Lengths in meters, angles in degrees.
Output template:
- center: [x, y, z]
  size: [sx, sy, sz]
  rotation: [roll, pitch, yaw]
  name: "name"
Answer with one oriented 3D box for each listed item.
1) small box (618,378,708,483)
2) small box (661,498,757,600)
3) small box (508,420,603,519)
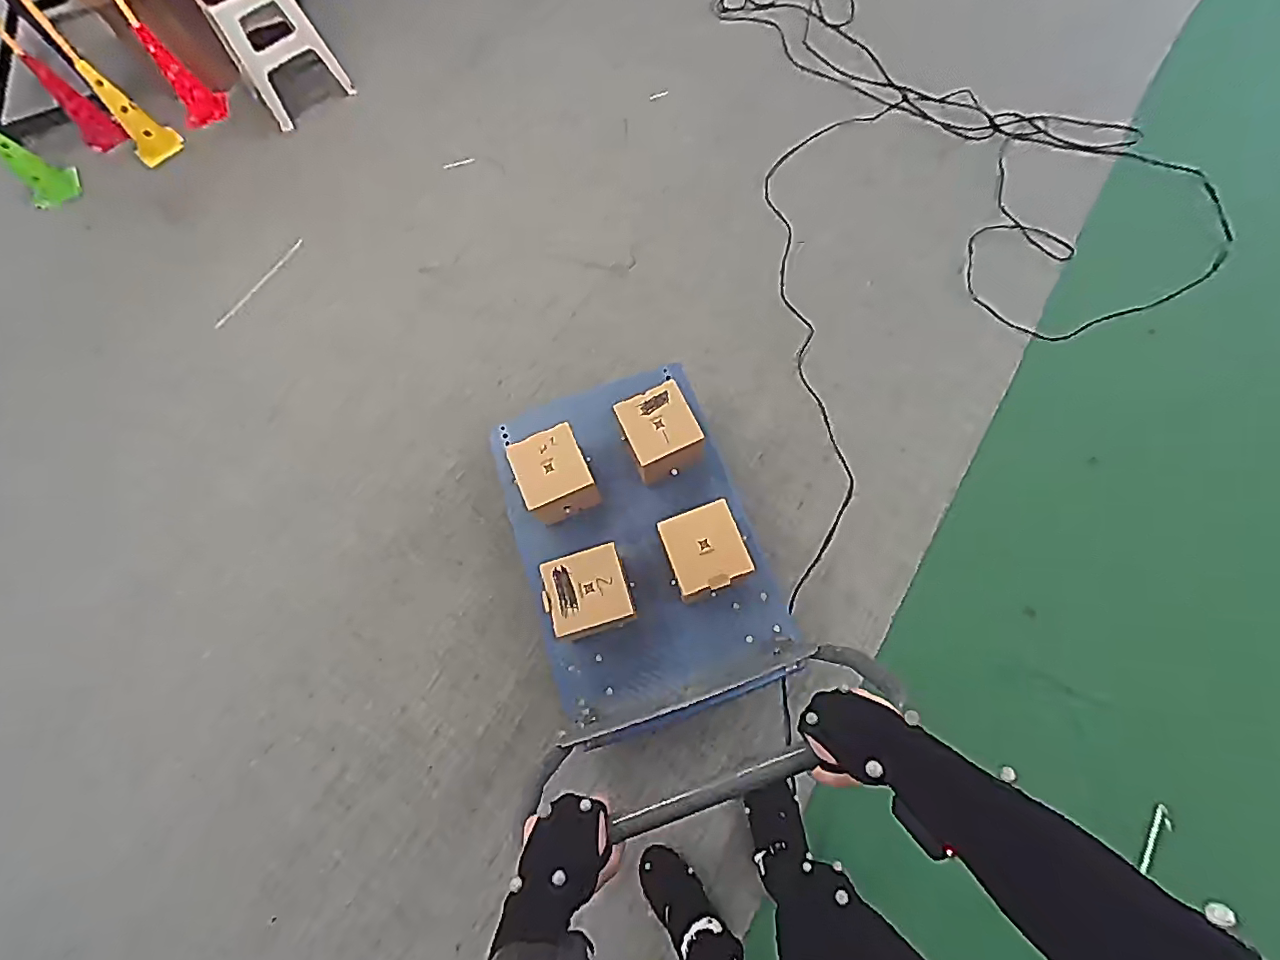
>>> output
- center: [0.057, -0.118, 1.356]
  size: [0.168, 0.176, 0.179]
  rotation: [-24, 73, -3]
  name: "small box"
- center: [0.153, 0.167, 1.258]
  size: [0.168, 0.176, 0.179]
  rotation: [-20, 72, -2]
  name: "small box"
- center: [-0.202, -0.016, 1.343]
  size: [0.168, 0.176, 0.179]
  rotation: [-23, 72, -4]
  name: "small box"
